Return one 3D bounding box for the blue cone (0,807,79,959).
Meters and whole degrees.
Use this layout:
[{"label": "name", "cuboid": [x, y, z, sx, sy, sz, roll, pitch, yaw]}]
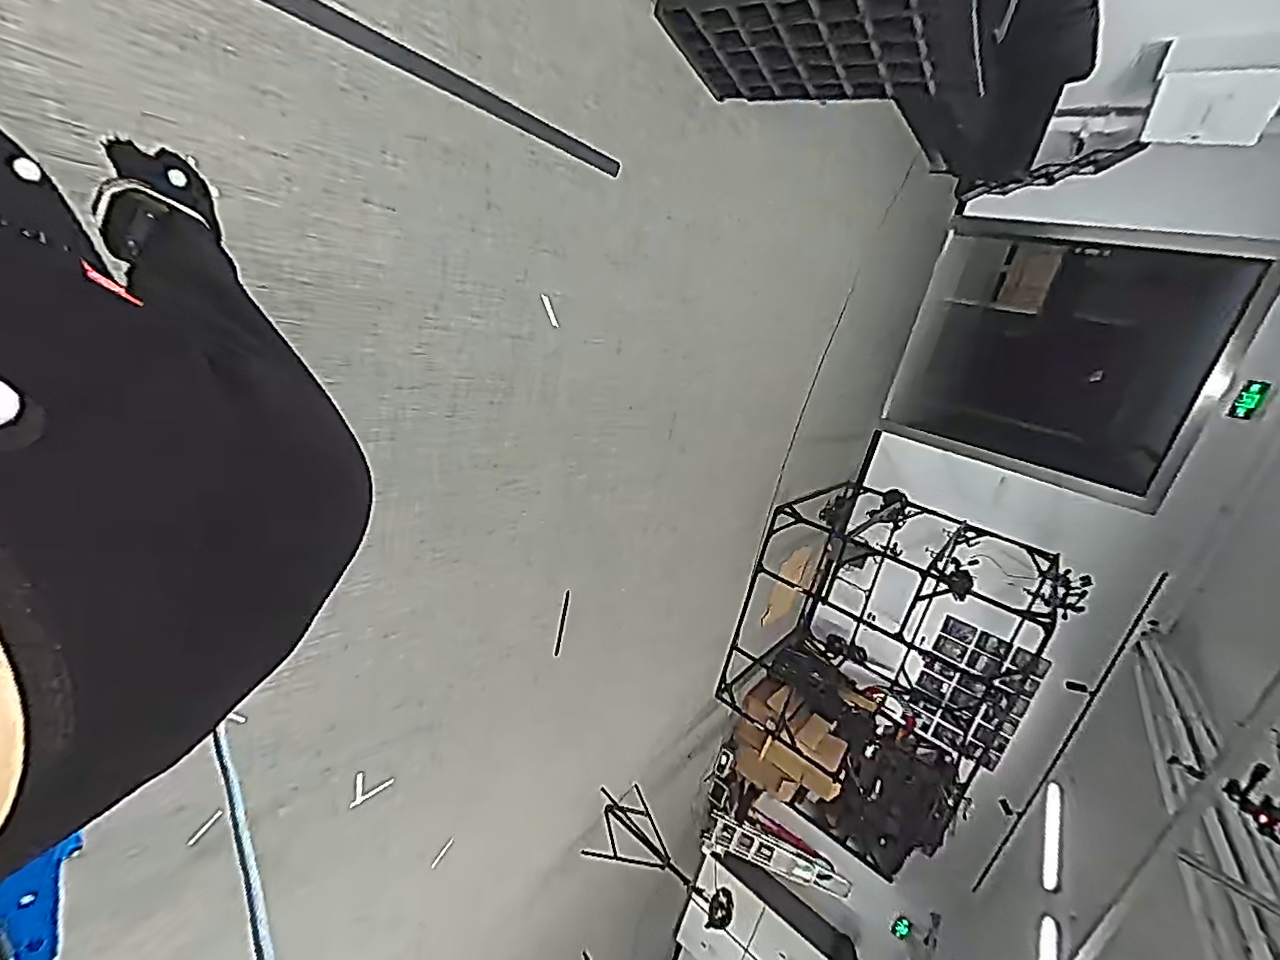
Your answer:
[{"label": "blue cone", "cuboid": [-1.334, 0.938, 1.179, 0.192, 0.380, 0.193, -16, 125, -51]}]
